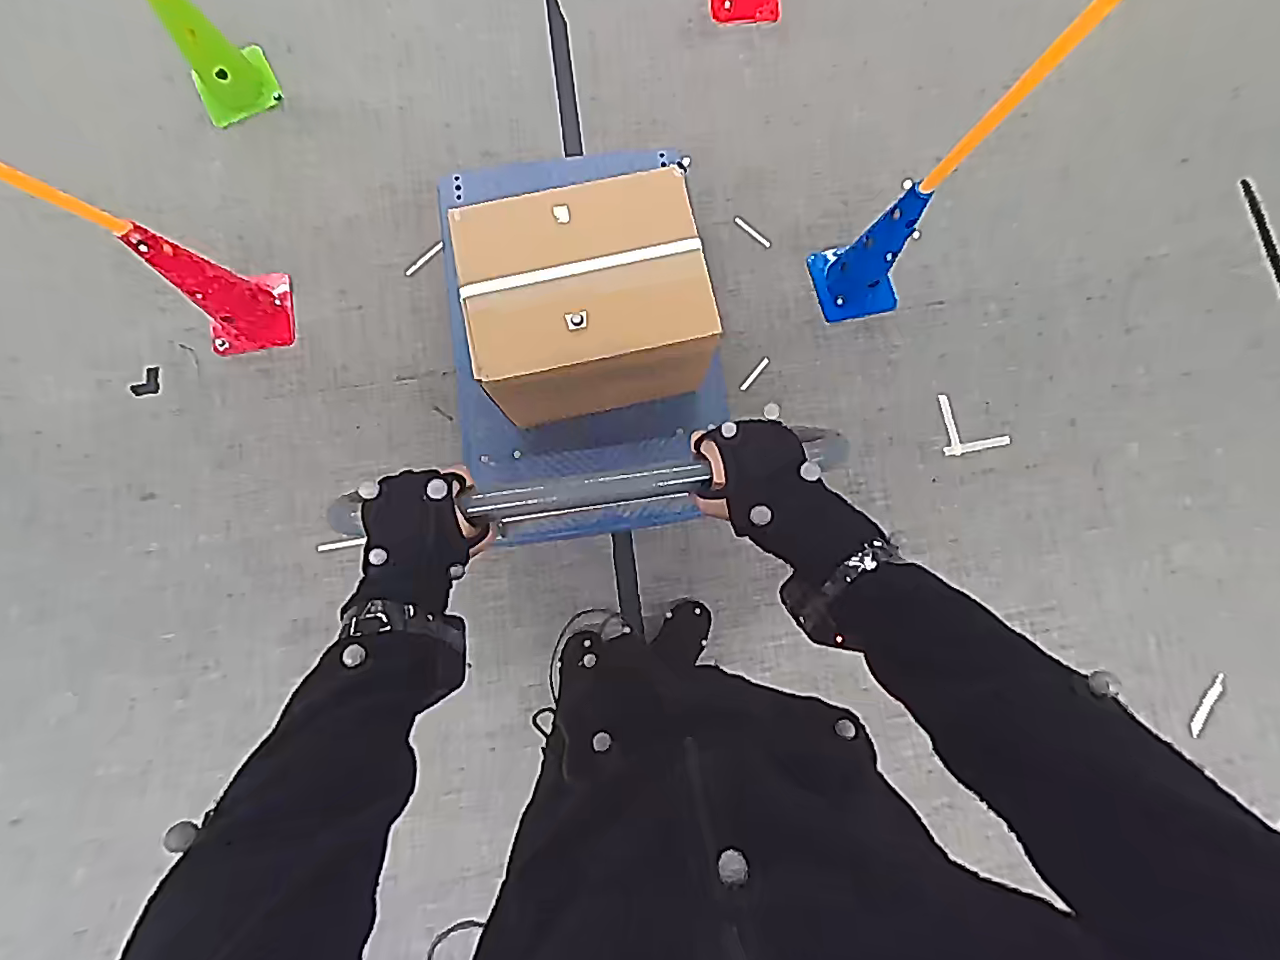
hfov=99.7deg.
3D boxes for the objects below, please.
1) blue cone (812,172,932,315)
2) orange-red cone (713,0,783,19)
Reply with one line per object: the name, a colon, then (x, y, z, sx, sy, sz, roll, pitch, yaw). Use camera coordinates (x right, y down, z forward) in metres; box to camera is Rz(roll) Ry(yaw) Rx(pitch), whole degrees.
blue cone: (0.563, -0.555, 1.253, 0.193, 0.380, 0.192, -12, 80, -3)
orange-red cone: (0.311, -1.423, 1.367, 0.199, 0.360, 0.198, -1, 82, -2)
